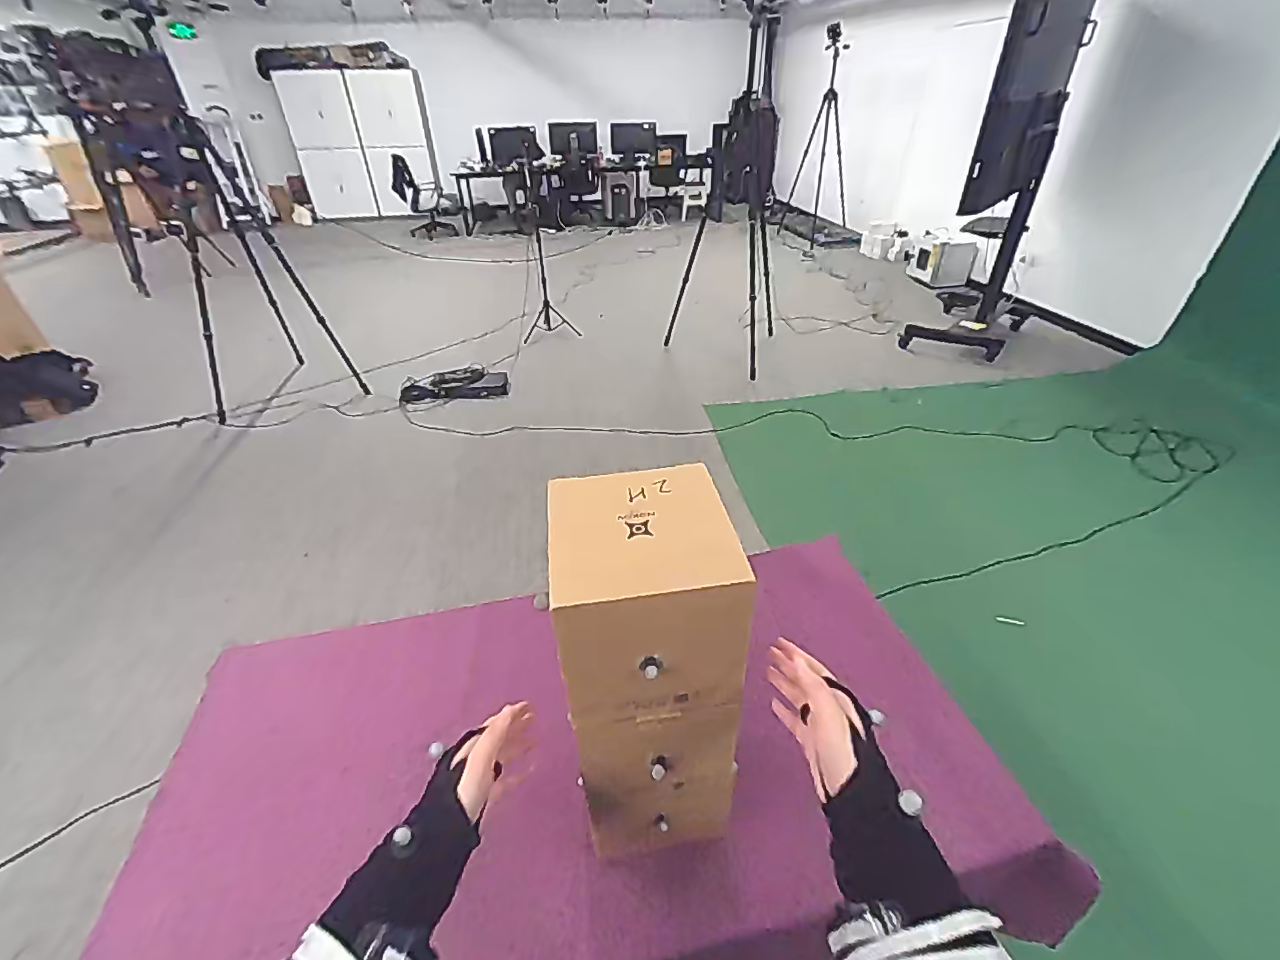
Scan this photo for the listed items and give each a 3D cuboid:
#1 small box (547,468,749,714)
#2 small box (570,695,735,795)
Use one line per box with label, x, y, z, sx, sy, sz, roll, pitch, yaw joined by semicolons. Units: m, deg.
small box;0.002;0.111;0.538;0.168;0.176;0.179;-5;35;-6
small box;0.008;0.245;0.635;0.168;0.176;0.179;-5;36;-5
